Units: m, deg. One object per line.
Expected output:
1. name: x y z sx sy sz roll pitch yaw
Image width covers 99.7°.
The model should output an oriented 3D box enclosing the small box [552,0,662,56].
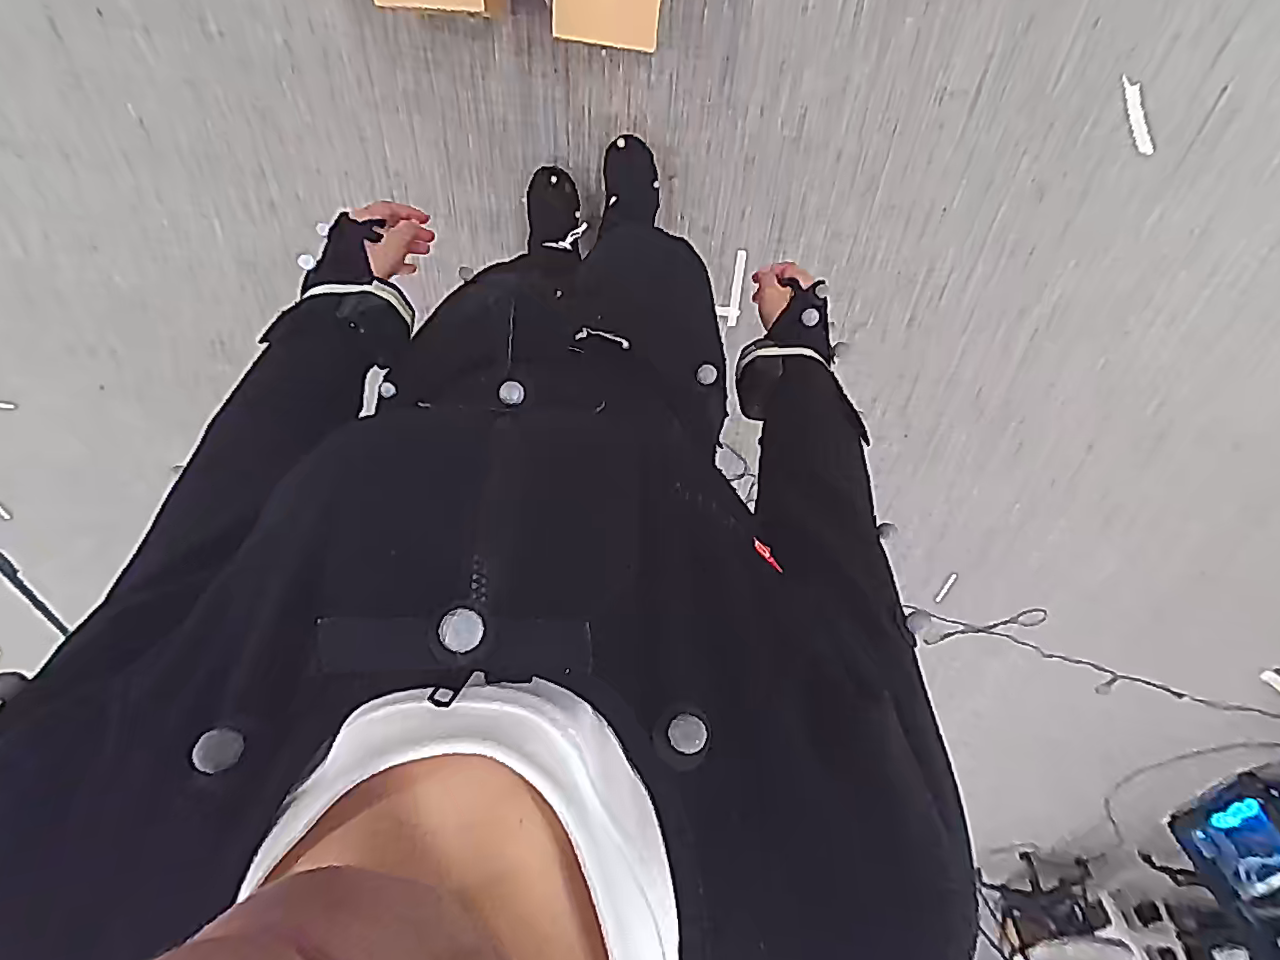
1. small box: -0.045 -0.803 0.867 0.168 0.176 0.179 7 128 -4
